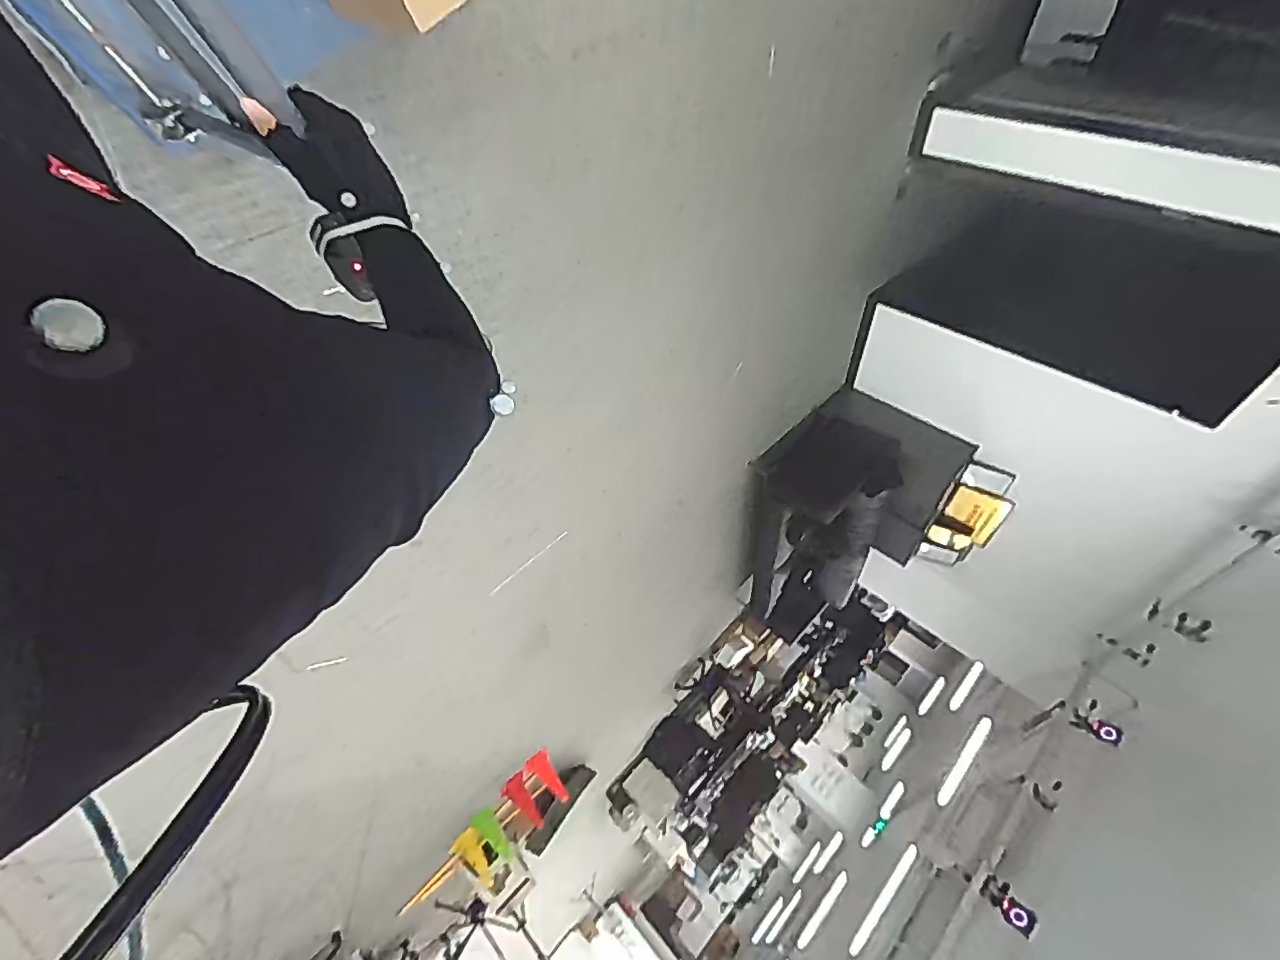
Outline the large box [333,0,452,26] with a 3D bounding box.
[{"bbox_3d":[-0.391,-0.952,0.745,0.320,0.320,0.408,-47,148,-10],"label":"large box"}]
